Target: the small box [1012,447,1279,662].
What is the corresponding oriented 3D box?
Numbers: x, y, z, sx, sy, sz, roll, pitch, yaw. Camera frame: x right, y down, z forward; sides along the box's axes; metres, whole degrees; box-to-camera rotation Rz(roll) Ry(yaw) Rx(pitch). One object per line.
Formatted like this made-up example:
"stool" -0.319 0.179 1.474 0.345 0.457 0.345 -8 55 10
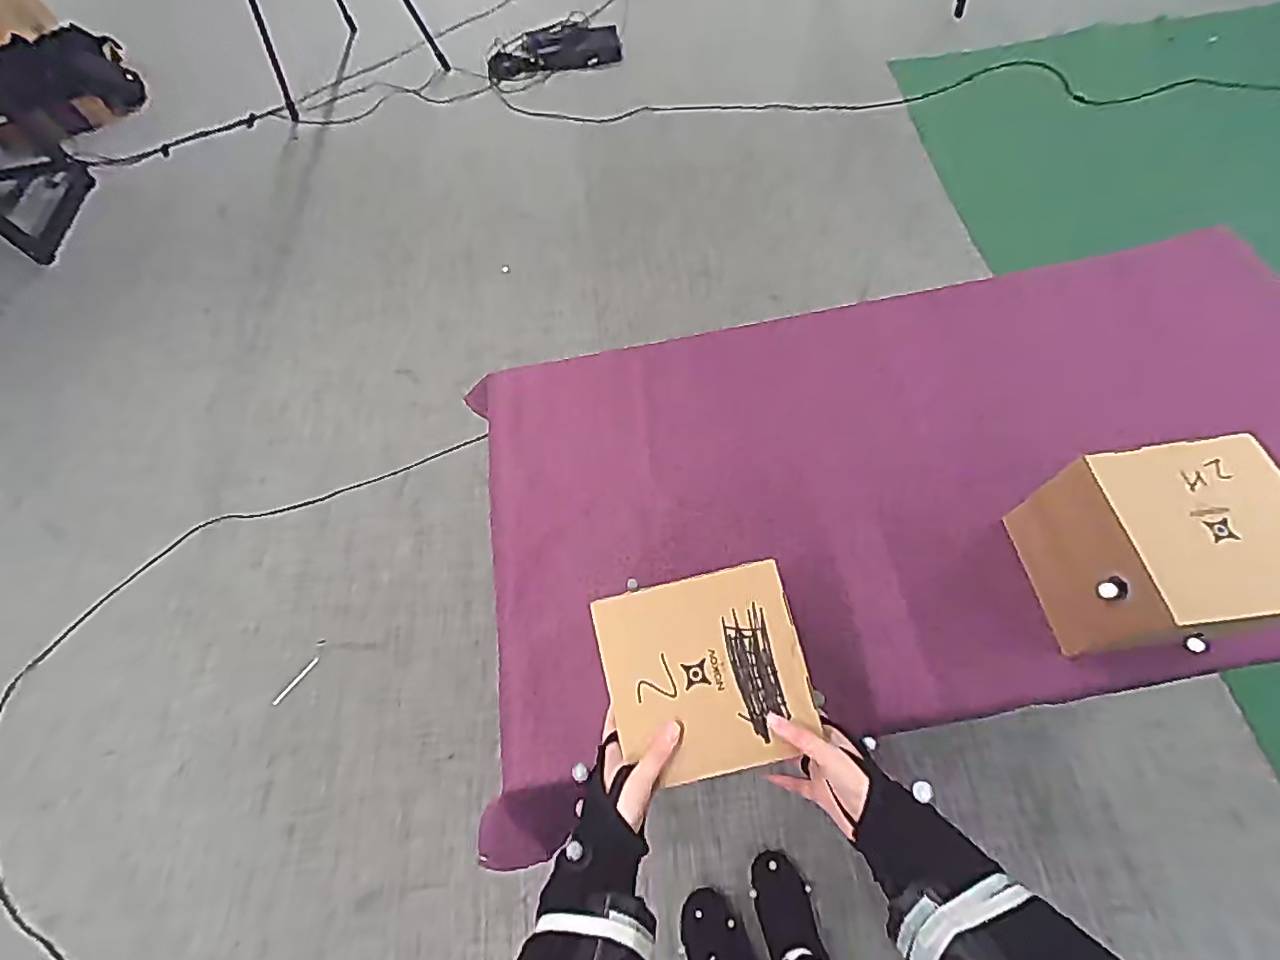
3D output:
"small box" 0.548 0.090 0.575 0.168 0.176 0.179 -7 61 2
